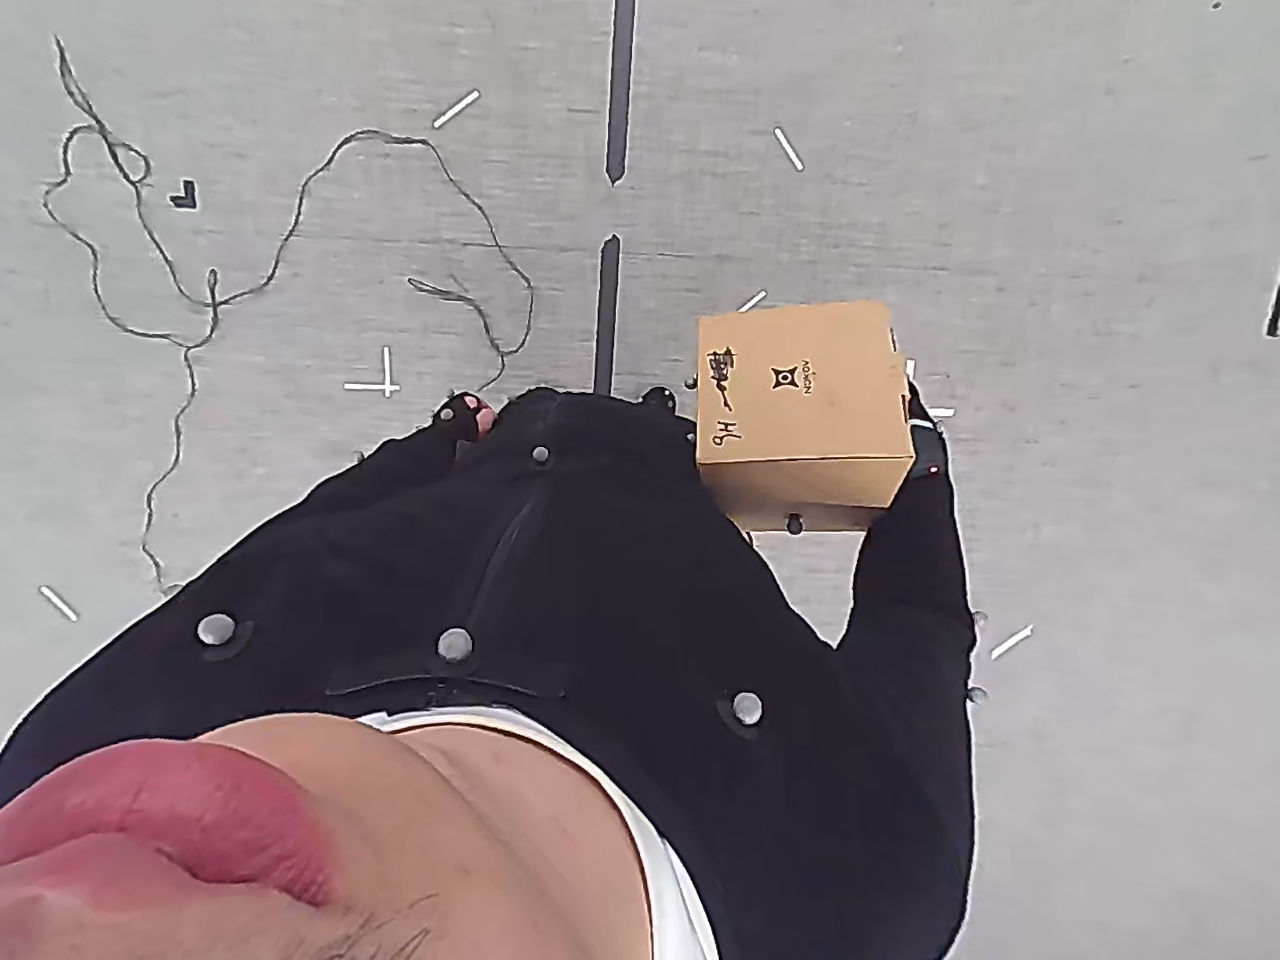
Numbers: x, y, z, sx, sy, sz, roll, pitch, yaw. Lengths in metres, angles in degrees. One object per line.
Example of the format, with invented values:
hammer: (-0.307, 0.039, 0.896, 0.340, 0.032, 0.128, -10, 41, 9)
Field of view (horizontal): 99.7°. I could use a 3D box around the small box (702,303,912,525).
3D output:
small box: (0.160, -0.059, 0.564, 0.179, 0.176, 0.168, -1, 63, 11)
